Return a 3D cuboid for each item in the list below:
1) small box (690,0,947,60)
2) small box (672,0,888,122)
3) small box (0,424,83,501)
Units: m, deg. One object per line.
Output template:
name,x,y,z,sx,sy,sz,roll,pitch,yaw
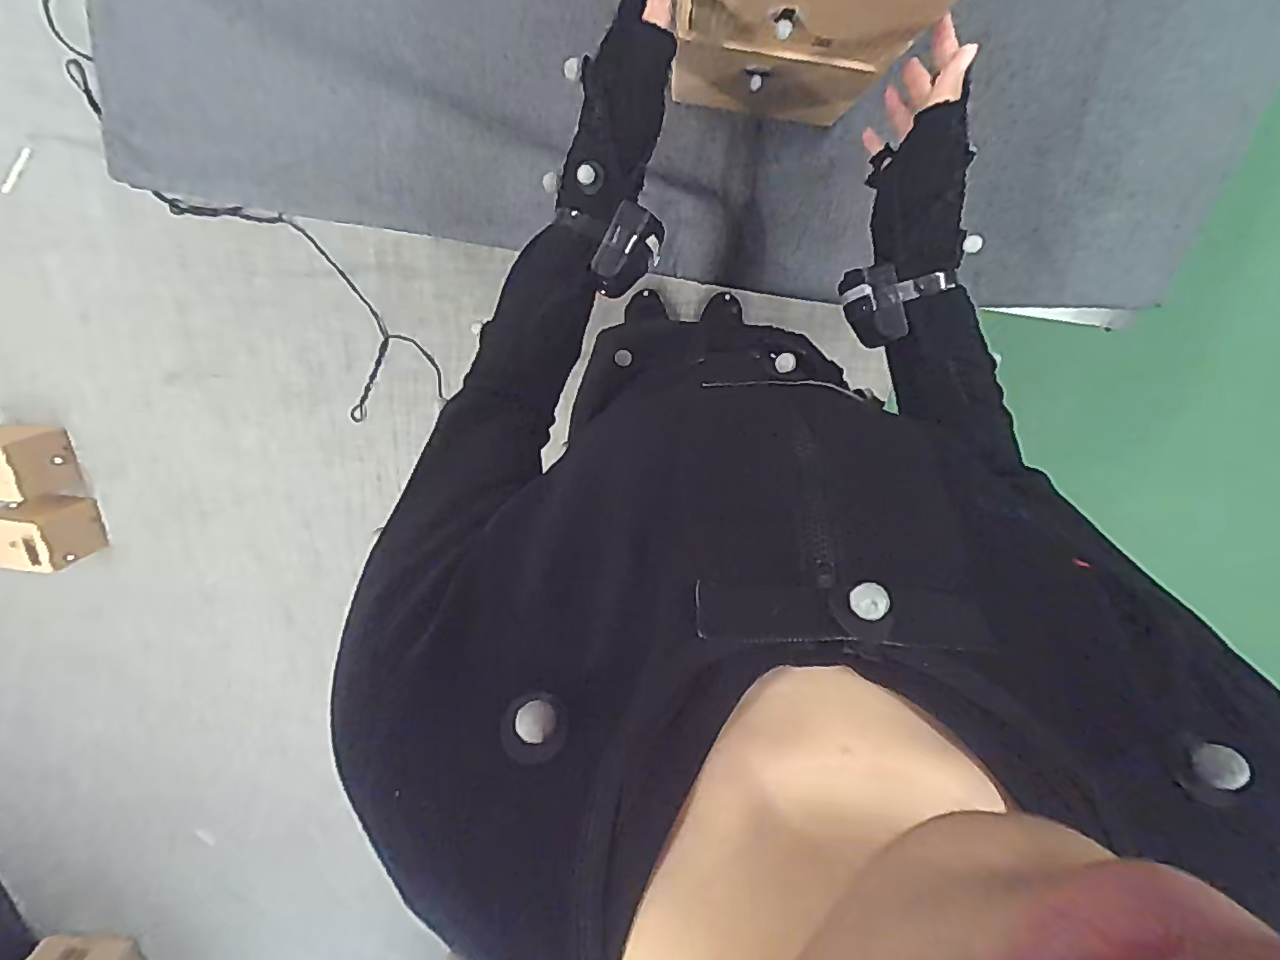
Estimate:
small box,0.124,-0.398,0.328,0.168,0.176,0.179,8,112,0
small box,0.127,-0.445,0.484,0.179,0.176,0.168,9,111,-1
small box,-1.747,-0.054,1.517,0.179,0.176,0.168,5,112,1
